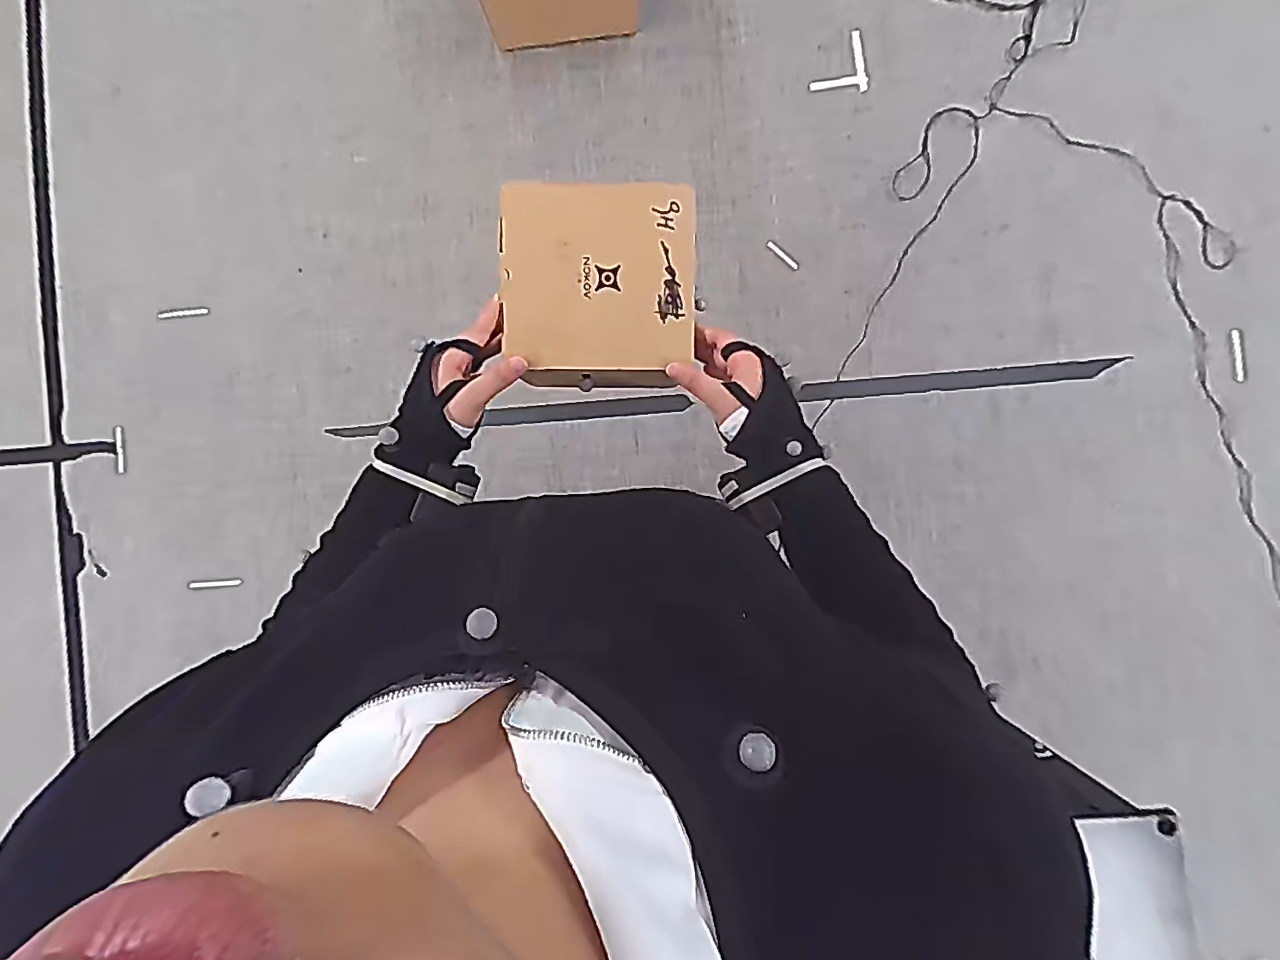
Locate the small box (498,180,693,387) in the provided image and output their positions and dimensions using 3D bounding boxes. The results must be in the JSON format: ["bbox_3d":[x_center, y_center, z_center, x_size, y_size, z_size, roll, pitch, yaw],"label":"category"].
[{"bbox_3d":[-0.041,-0.189,0.566,0.179,0.176,0.168,0,94,-2],"label":"small box"}]
